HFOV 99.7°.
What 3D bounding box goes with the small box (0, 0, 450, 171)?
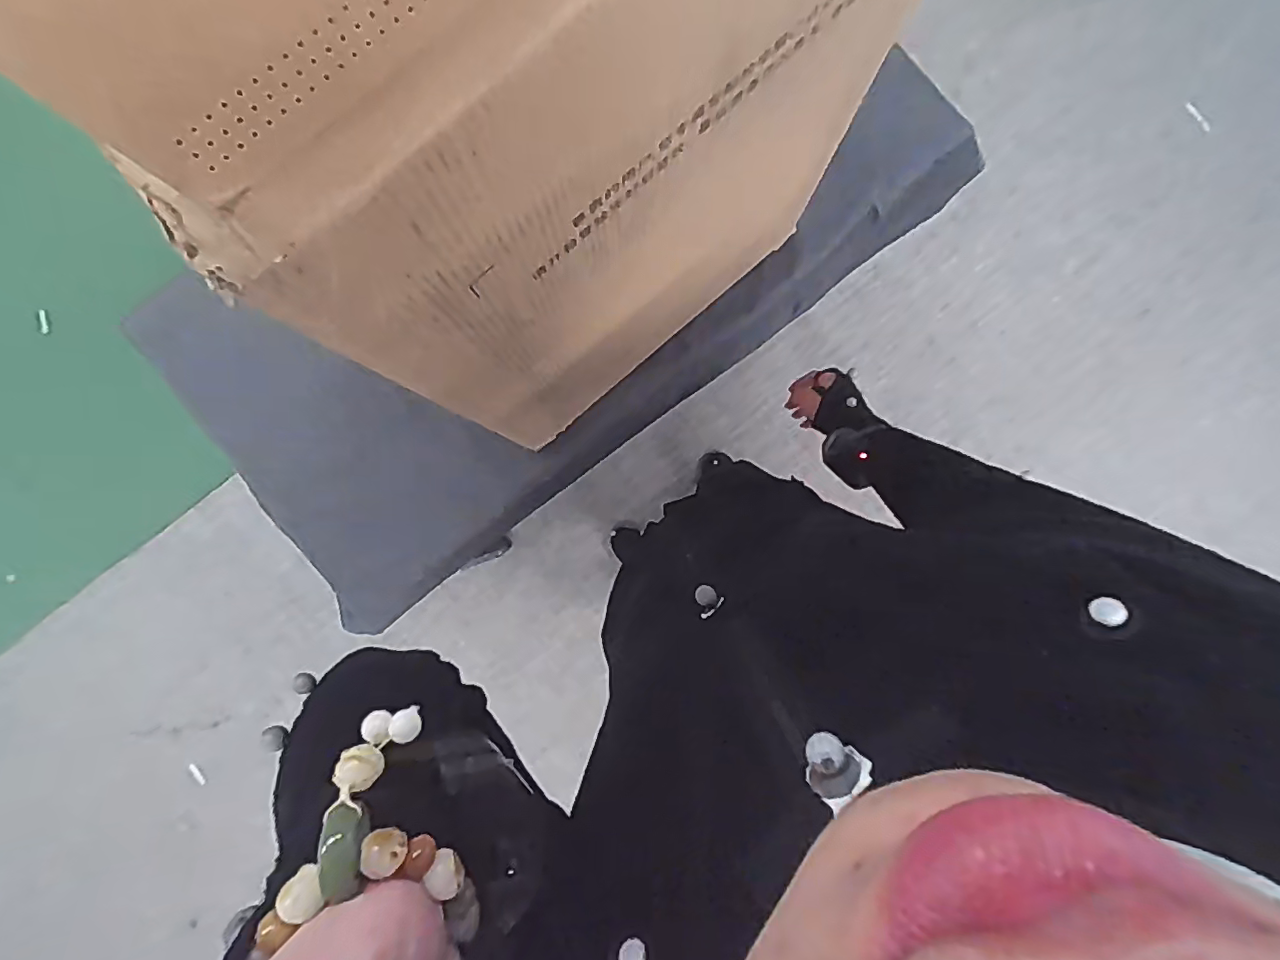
[{"bbox_3d":[-0.147,-0.224,0.127,0.179,0.176,0.168,-41,89,1],"label":"small box"}]
